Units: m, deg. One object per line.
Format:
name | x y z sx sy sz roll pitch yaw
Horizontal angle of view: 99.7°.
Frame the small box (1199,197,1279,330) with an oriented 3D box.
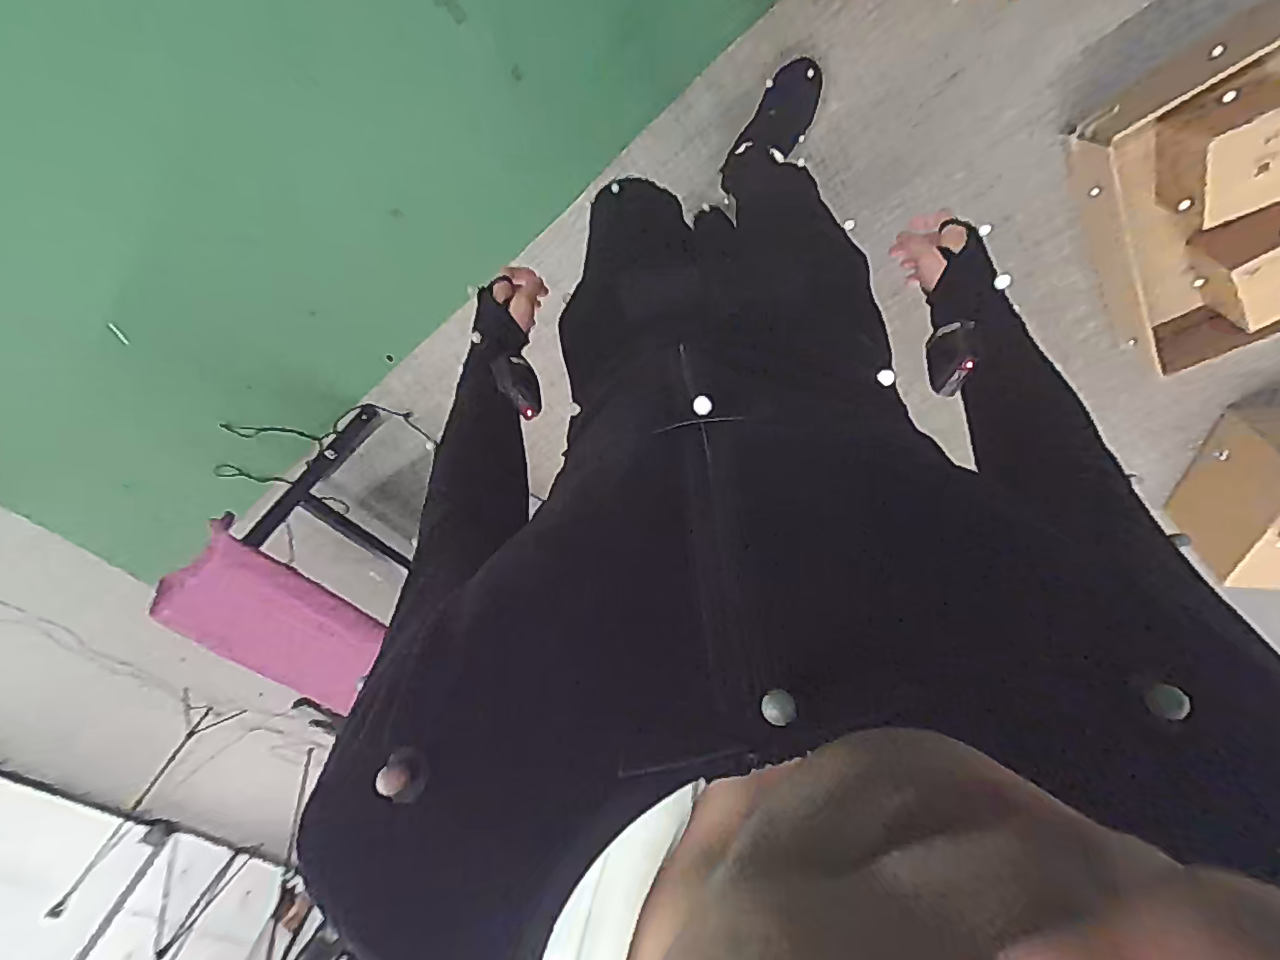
small box | 1.320 -0.452 1.113 0.168 0.176 0.179 -32 119 33
